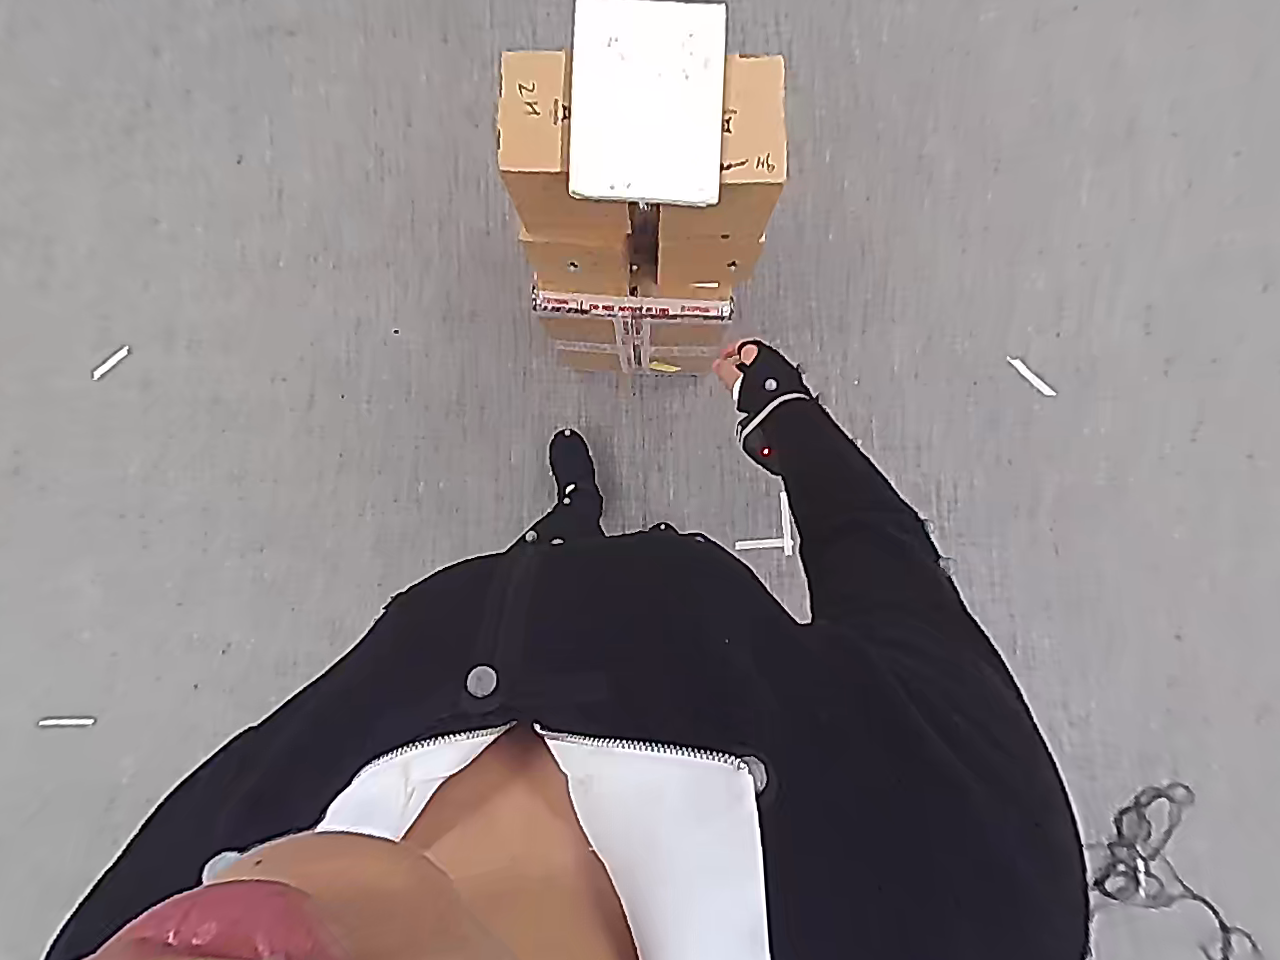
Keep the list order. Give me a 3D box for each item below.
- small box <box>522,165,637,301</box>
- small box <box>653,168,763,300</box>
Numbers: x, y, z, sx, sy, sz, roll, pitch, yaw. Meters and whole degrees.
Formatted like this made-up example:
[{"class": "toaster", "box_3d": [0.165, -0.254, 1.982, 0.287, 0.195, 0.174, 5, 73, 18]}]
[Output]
[{"class": "small box", "box_3d": [-0.100, -0.437, 0.983, 0.179, 0.176, 0.168, 6, 89, 3]}, {"class": "small box", "box_3d": [0.116, -0.437, 0.981, 0.179, 0.176, 0.168, -2, 88, 0]}]
